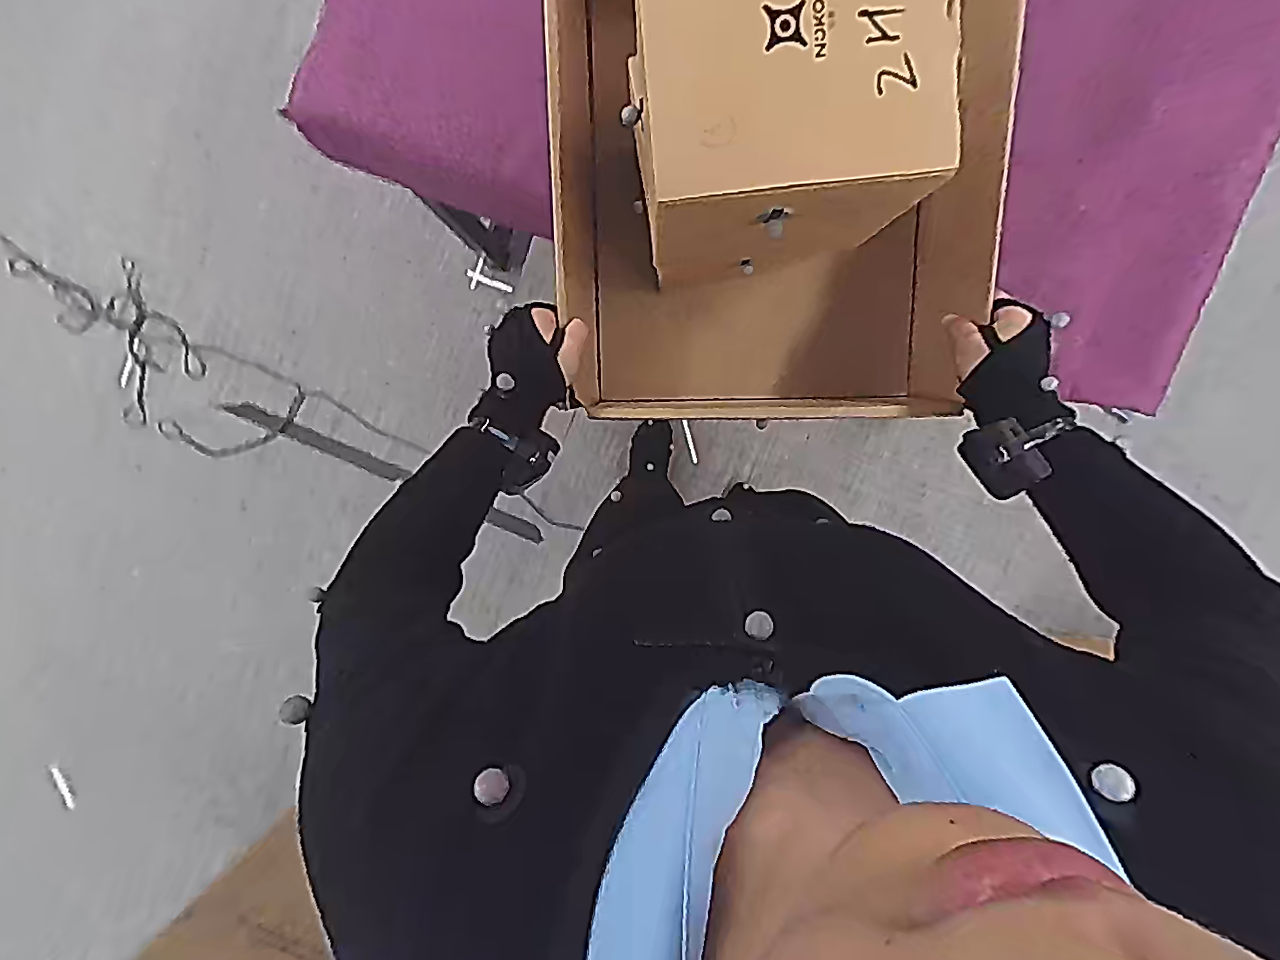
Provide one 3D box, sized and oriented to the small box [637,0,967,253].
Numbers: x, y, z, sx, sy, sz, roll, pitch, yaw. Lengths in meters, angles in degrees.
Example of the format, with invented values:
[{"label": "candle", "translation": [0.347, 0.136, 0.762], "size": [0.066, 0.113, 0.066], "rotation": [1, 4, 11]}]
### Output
[{"label": "small box", "translation": [0.089, -0.265, 0.370], "size": [0.179, 0.176, 0.168], "rotation": [-4, 99, 2]}]
